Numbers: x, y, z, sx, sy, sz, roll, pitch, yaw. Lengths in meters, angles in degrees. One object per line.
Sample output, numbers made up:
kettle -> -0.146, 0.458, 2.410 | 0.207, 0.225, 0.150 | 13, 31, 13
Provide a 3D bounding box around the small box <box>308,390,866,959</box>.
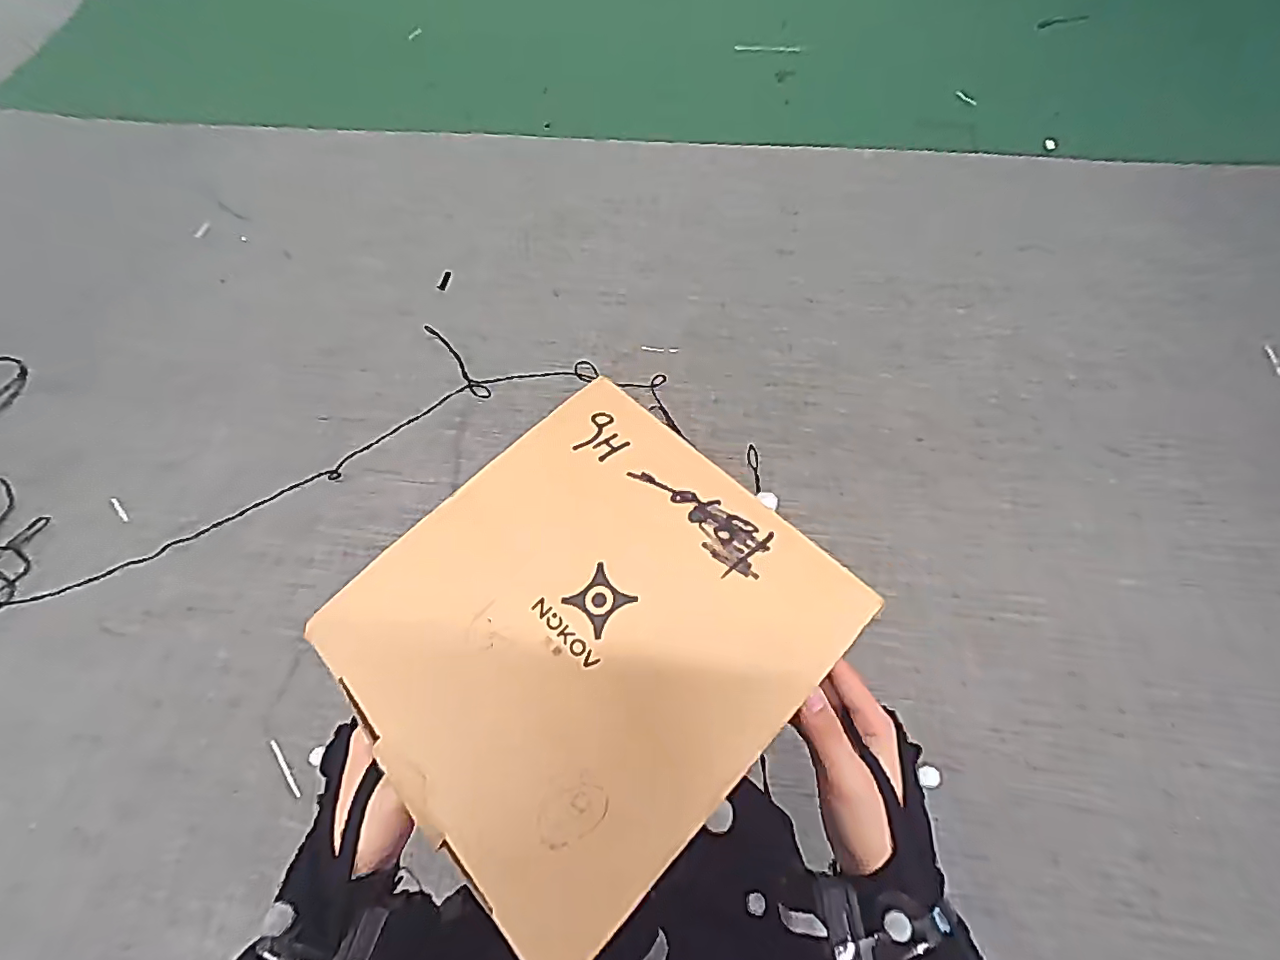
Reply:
small box -> -0.017, 0.095, 0.290 | 0.179, 0.176, 0.168 | -43, 67, -14
